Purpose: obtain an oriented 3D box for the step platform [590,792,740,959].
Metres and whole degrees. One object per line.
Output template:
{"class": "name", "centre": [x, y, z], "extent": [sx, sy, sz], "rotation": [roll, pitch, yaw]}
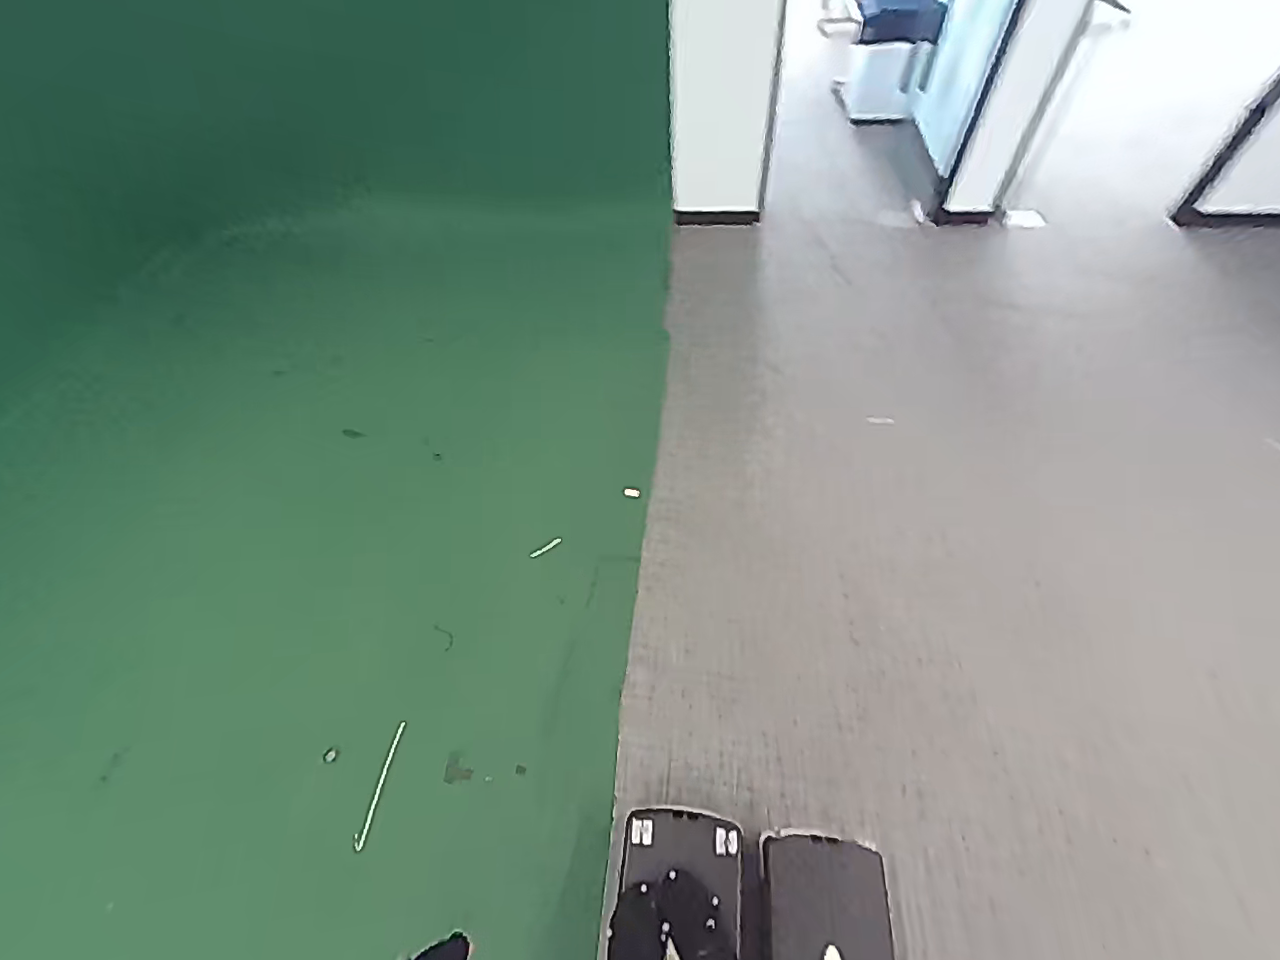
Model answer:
{"class": "step platform", "centre": [0.031, 0.972, 0.988], "extent": [0.286, 0.204, 0.684], "rotation": [4, 56, 6]}
